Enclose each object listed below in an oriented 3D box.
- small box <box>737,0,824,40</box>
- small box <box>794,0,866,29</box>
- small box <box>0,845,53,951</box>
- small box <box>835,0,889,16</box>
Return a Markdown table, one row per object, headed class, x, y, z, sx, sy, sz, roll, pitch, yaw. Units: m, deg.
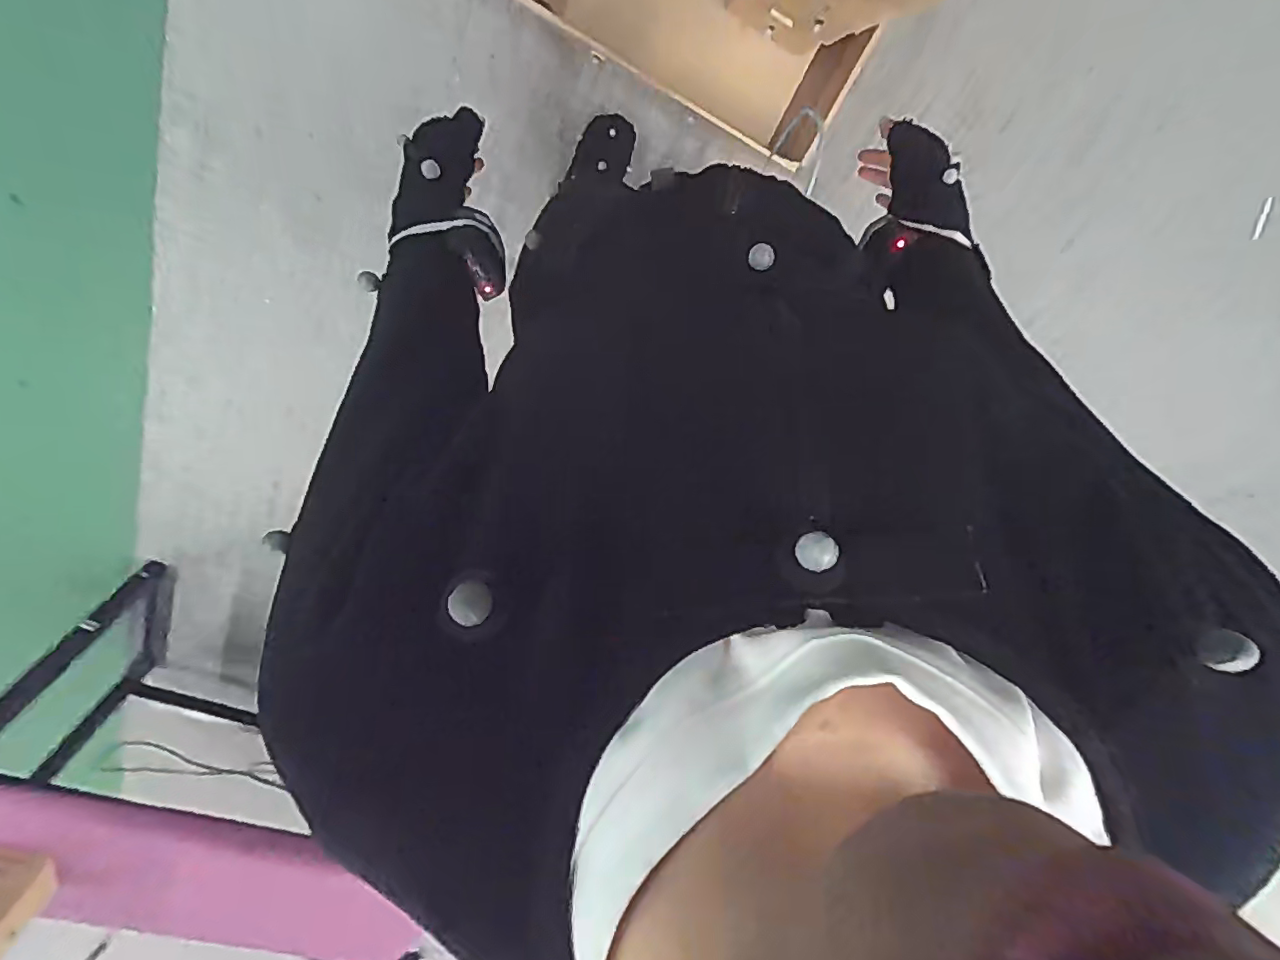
| class | x | y | z | sx | sy | sz | roll | pitch | yaw |
| --- | --- | --- | --- | --- | --- | --- | --- | --- | --- |
| small box | 0.273 | -0.899 | 0.927 | 0.168 | 0.176 | 0.179 | 20 | 119 | -11 |
| small box | 0.290 | -0.798 | 0.776 | 0.168 | 0.176 | 0.179 | 23 | 119 | -15 |
| small box | -1.504 | 0.961 | 1.232 | 0.168 | 0.176 | 0.179 | 22 | 119 | -17 |
| small box | 0.288 | -0.715 | 0.655 | 0.168 | 0.176 | 0.179 | 23 | 119 | -16 |
